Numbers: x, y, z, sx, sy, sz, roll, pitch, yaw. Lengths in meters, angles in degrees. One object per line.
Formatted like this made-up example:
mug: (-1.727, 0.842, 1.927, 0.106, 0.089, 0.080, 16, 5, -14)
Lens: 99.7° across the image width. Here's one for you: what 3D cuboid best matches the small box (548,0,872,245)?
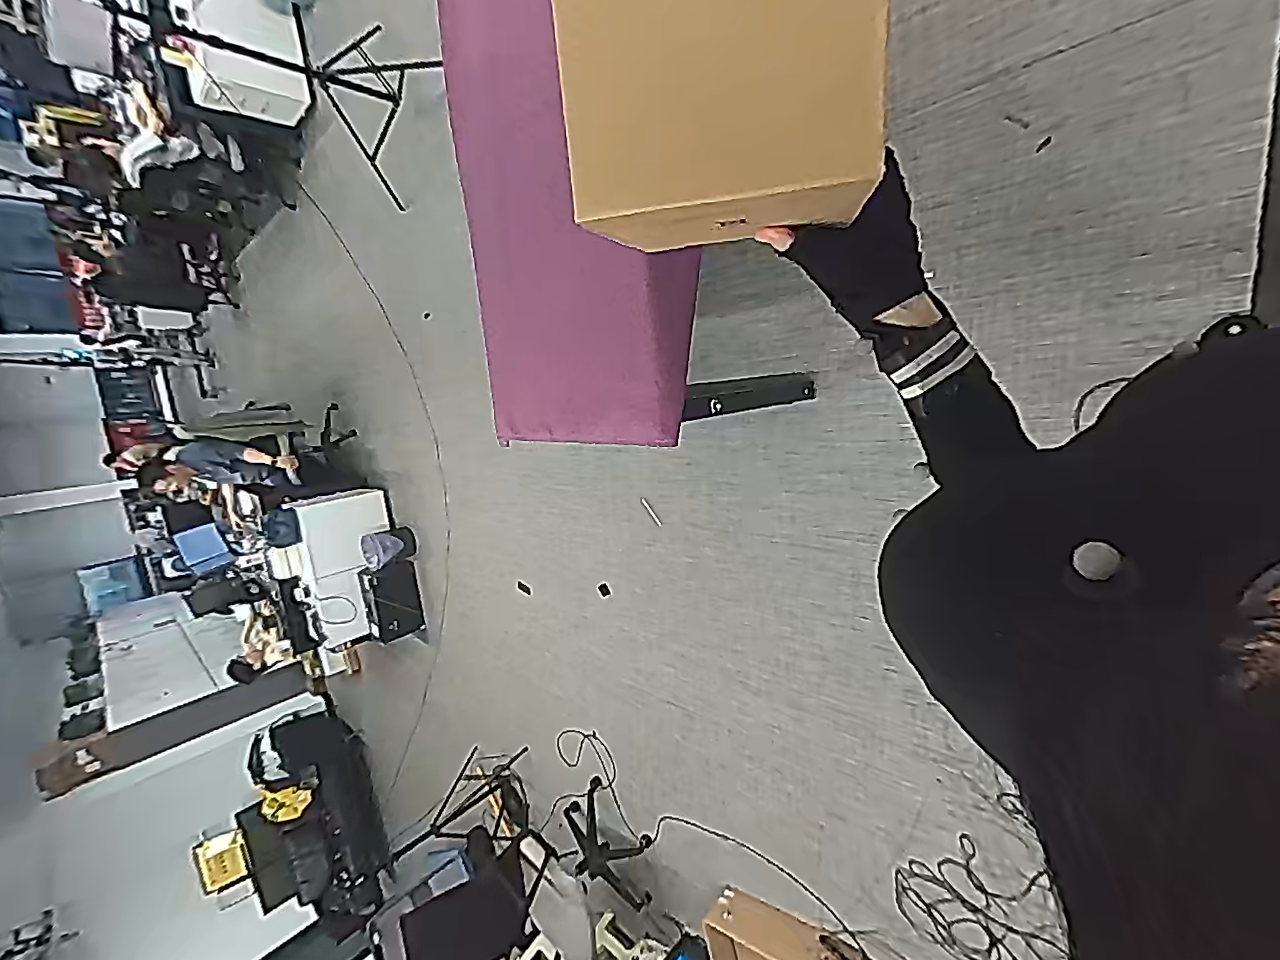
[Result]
small box: (0.054, -0.260, 0.347, 0.168, 0.179, 0.176, -2, 106, 19)
